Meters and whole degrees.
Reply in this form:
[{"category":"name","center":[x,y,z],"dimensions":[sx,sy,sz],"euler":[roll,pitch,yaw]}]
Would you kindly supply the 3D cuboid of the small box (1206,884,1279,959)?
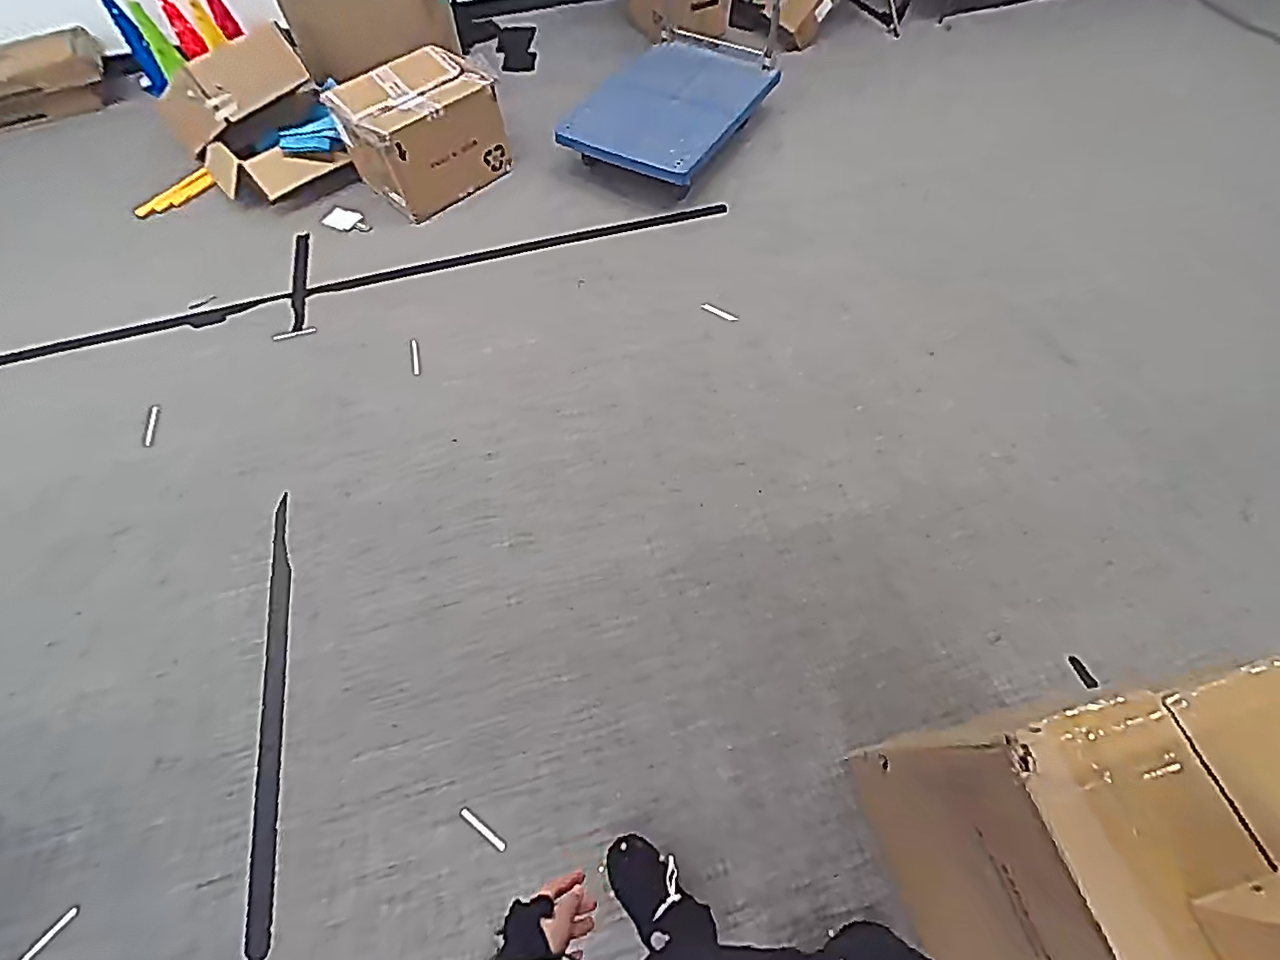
[{"category":"small box","center":[0.658,0.446,0.446],"dimensions":[0.168,0.176,0.179],"euler":[-14,62,-5]}]
